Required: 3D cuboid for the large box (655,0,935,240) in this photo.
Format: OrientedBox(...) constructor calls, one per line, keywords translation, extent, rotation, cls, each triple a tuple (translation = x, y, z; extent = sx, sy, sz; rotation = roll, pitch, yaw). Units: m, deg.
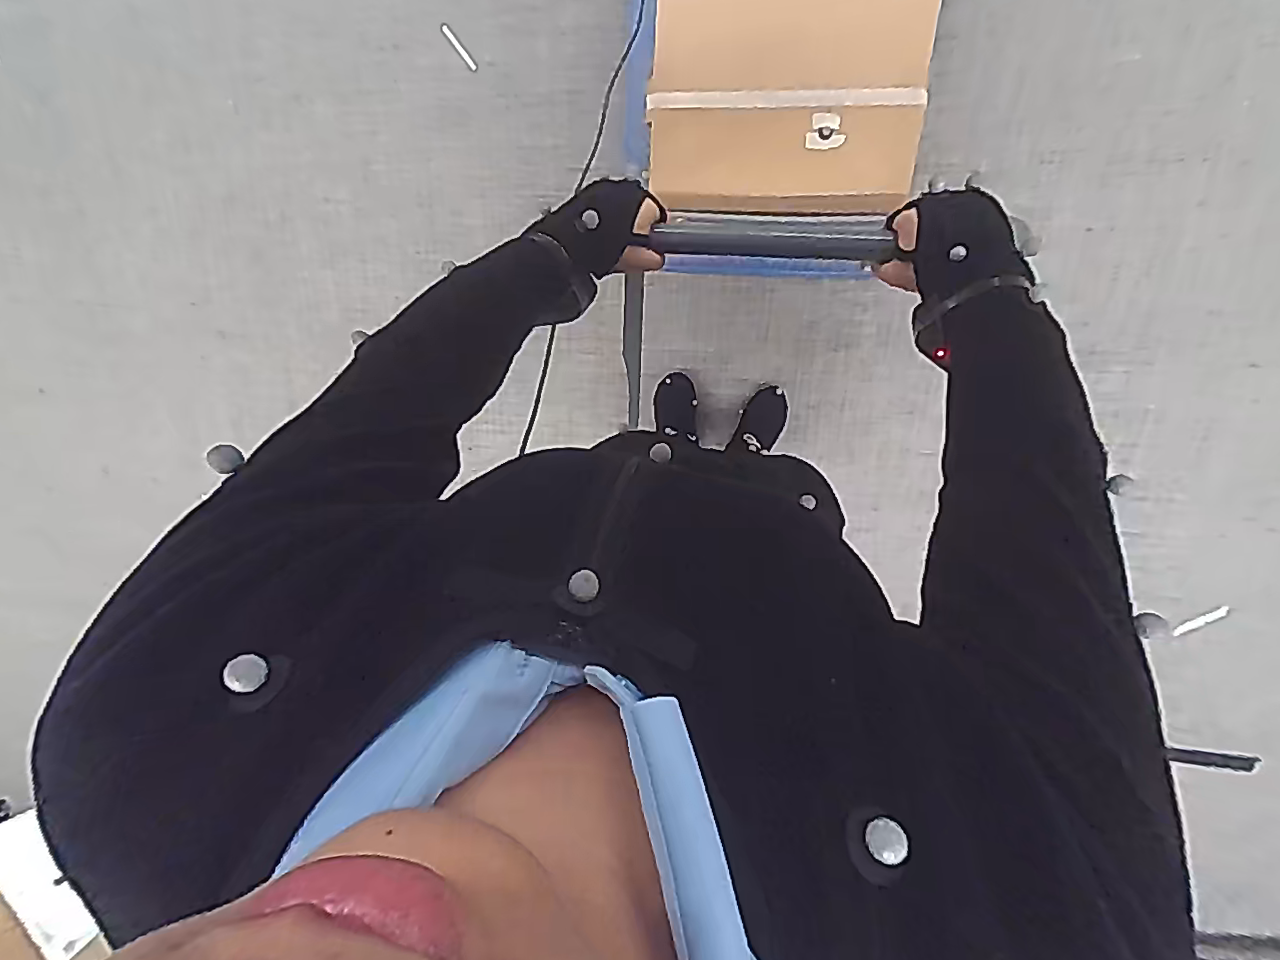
OrientedBox(translation=(0.244, -0.622, 0.975), extent=(0.408, 0.320, 0.320), rotation=(5, 108, 7), cls="large box")
